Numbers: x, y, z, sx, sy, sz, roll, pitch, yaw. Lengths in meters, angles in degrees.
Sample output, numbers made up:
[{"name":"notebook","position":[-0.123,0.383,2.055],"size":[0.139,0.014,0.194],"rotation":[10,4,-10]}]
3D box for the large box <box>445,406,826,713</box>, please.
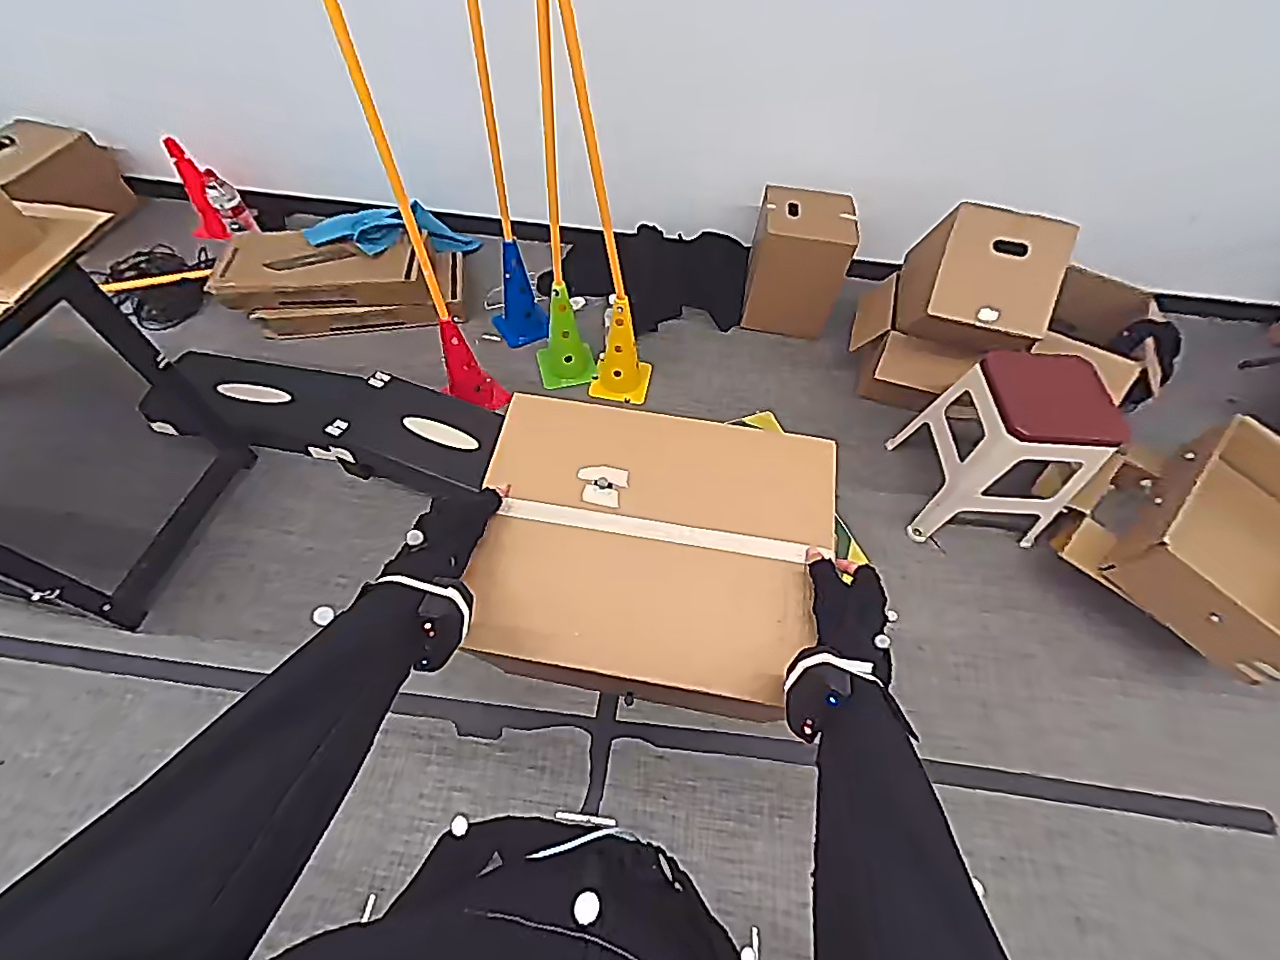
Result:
[{"name":"large box","position":[0.014,0.130,0.754],"size":[0.408,0.320,0.320],"rotation":[9,64,4]}]
